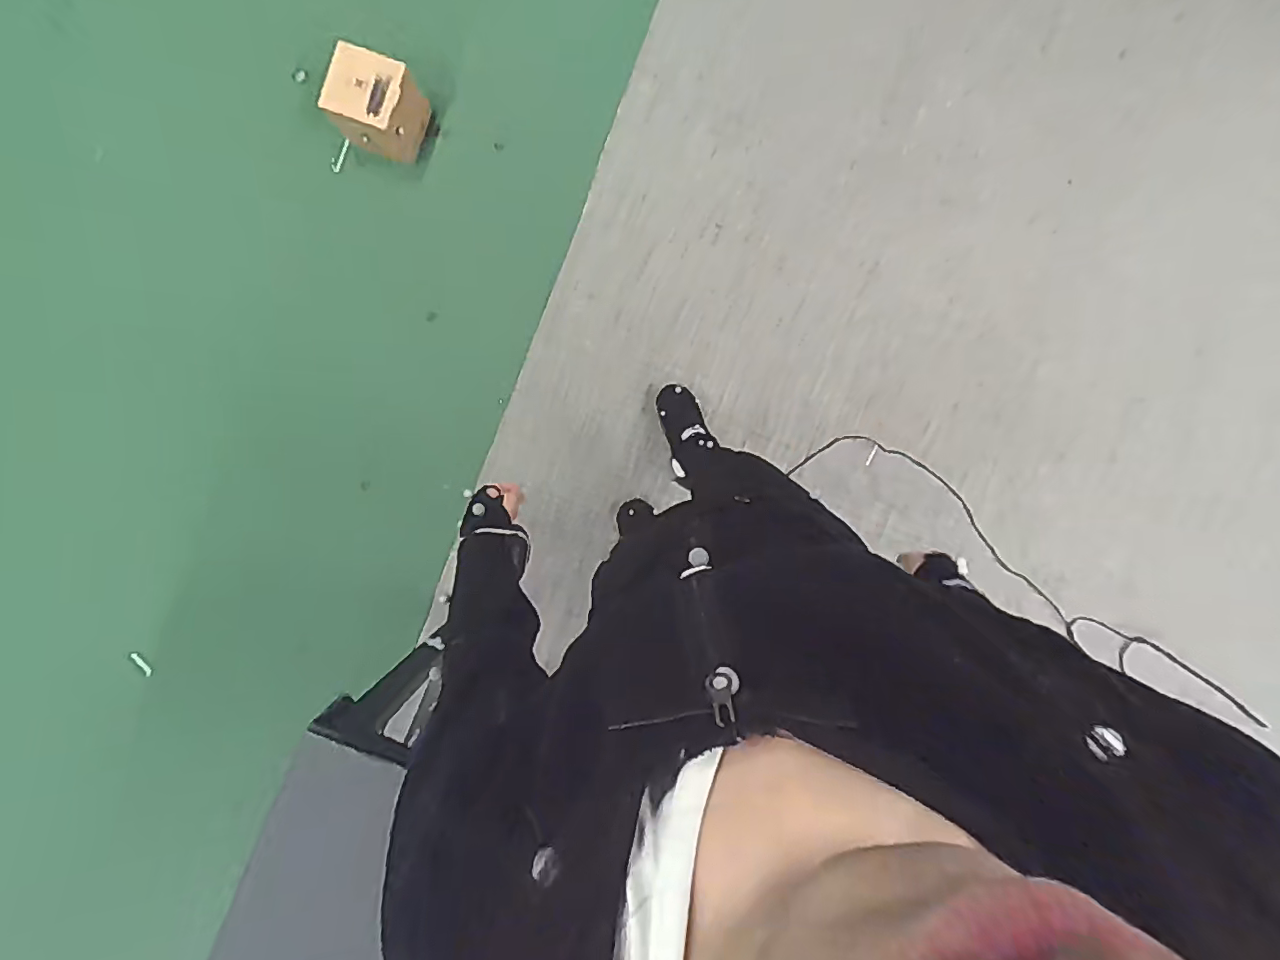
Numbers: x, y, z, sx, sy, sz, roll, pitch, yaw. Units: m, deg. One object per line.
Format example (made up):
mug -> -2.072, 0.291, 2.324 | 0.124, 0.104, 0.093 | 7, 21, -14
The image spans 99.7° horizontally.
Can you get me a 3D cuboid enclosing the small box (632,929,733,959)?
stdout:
small box -> 0.051, 0.767, 0.717 | 0.168, 0.176, 0.179 | 21, 91, -2
